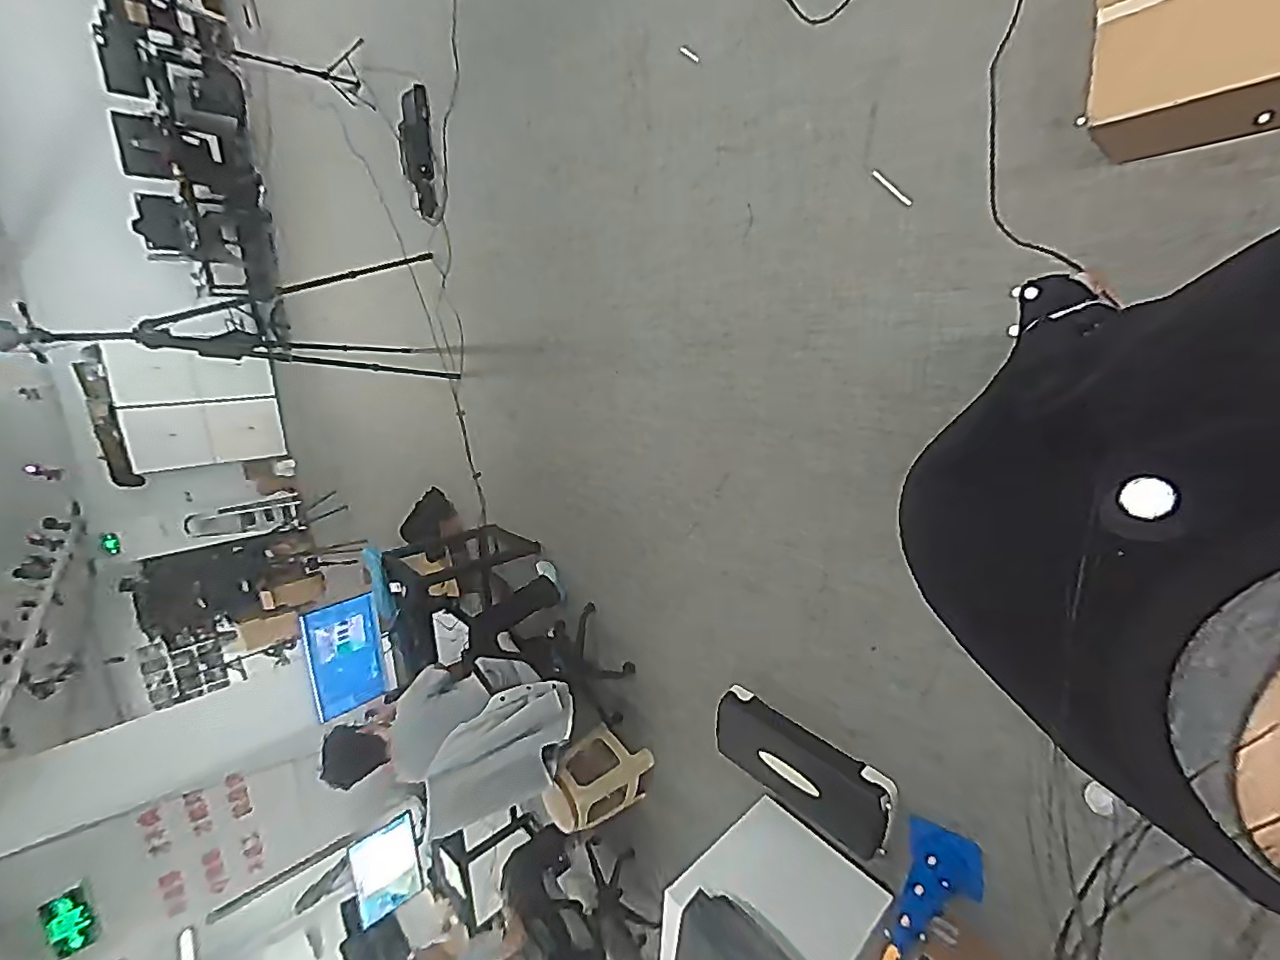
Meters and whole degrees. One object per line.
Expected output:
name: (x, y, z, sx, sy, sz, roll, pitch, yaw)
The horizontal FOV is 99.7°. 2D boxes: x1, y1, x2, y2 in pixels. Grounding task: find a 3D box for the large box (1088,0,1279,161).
large box: (0.986, -0.738, 0.824, 0.408, 0.320, 0.320, 11, 108, 47)
